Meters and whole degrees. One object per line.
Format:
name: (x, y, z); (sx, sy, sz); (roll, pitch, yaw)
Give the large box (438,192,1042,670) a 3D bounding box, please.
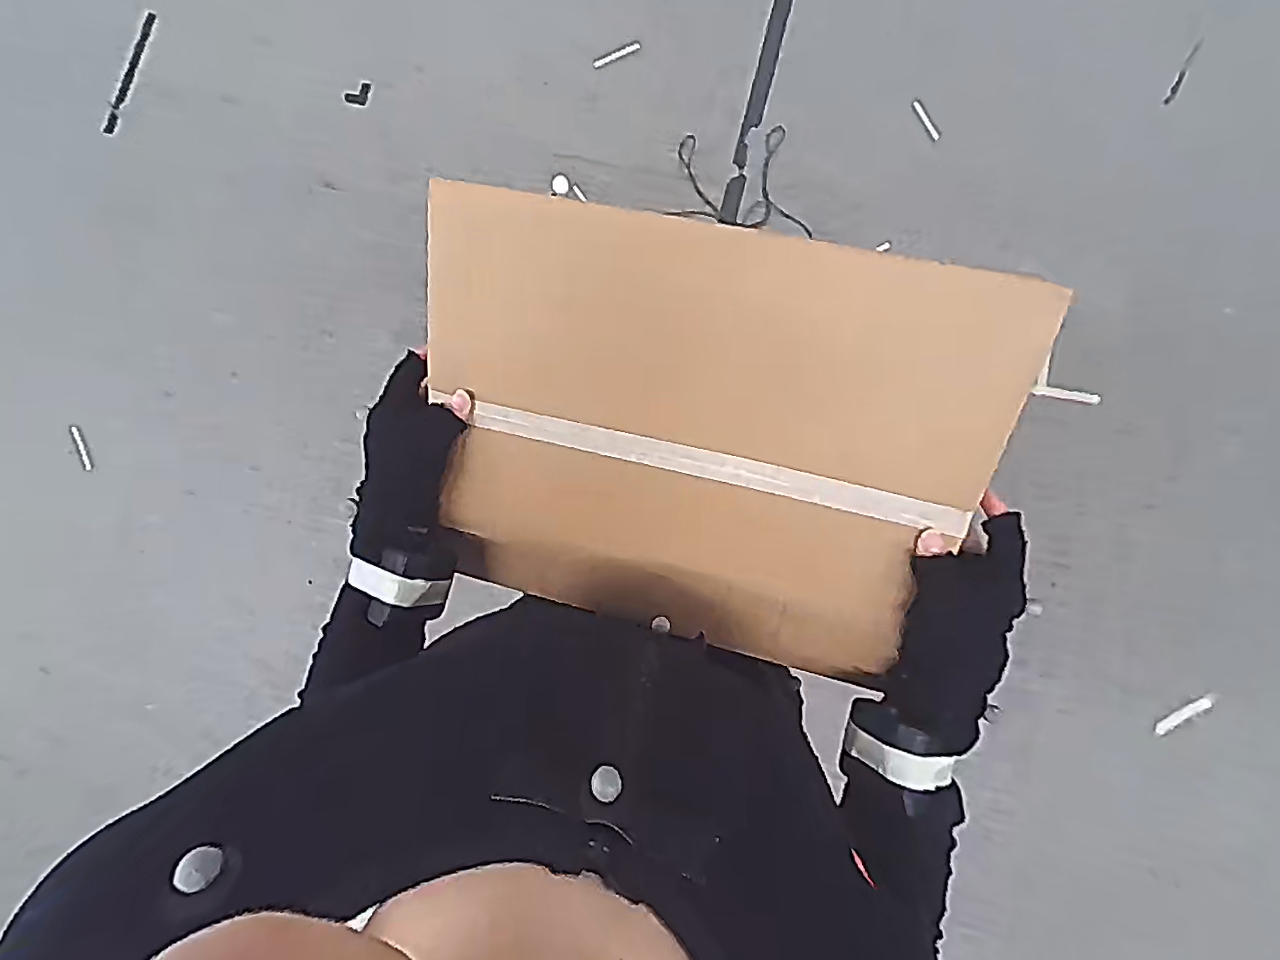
large box: (0.060, -0.077, 0.545); (0.408, 0.320, 0.320); (13, 115, 8)
